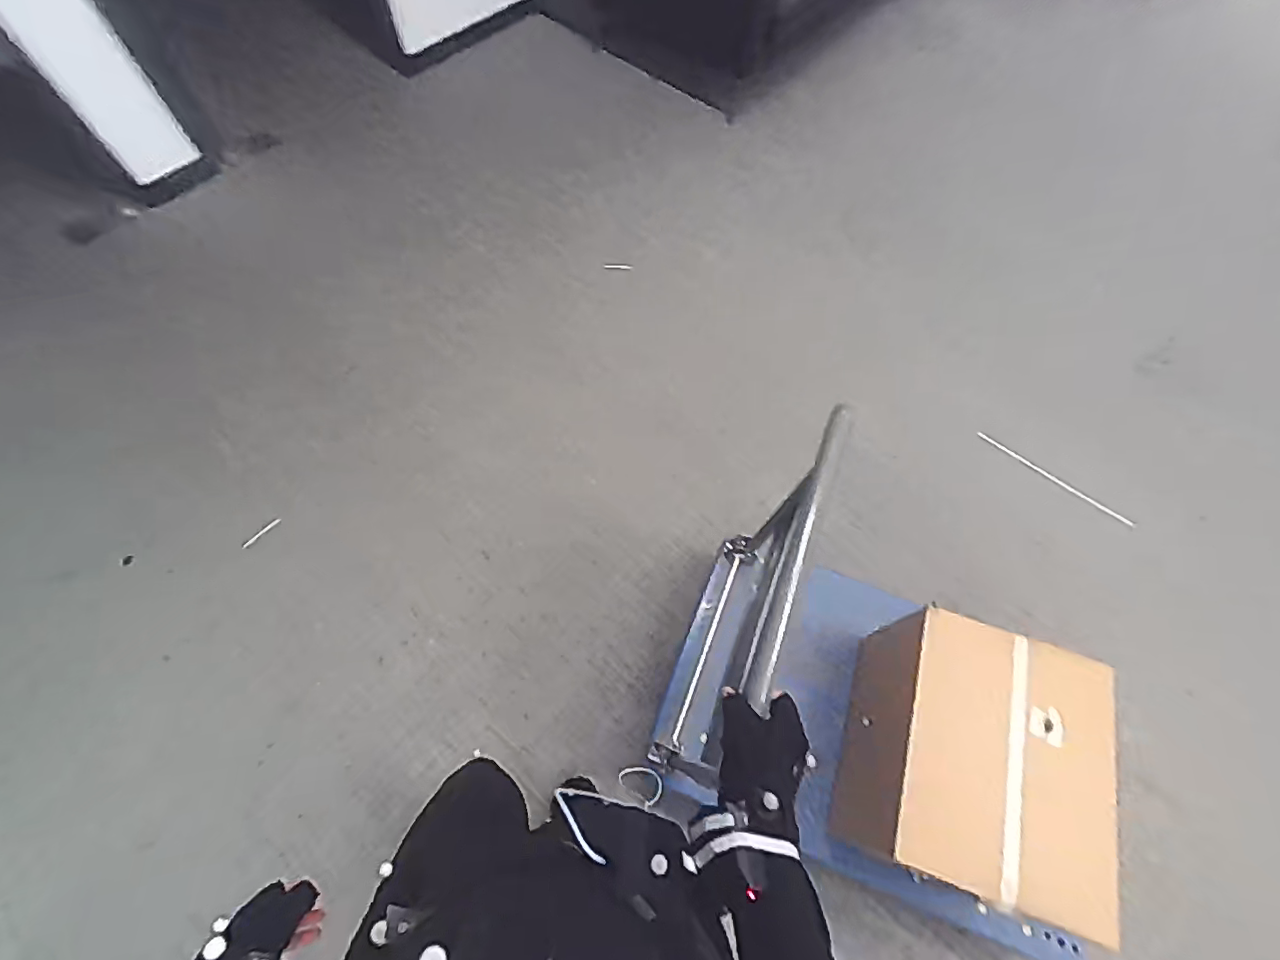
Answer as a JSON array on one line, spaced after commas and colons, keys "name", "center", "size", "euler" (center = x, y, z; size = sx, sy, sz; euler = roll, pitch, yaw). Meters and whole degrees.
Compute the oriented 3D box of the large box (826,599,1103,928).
[{"name": "large box", "center": [0.573, 0.497, 1.001], "size": [0.320, 0.320, 0.408], "euler": [19, 63, 8]}]
